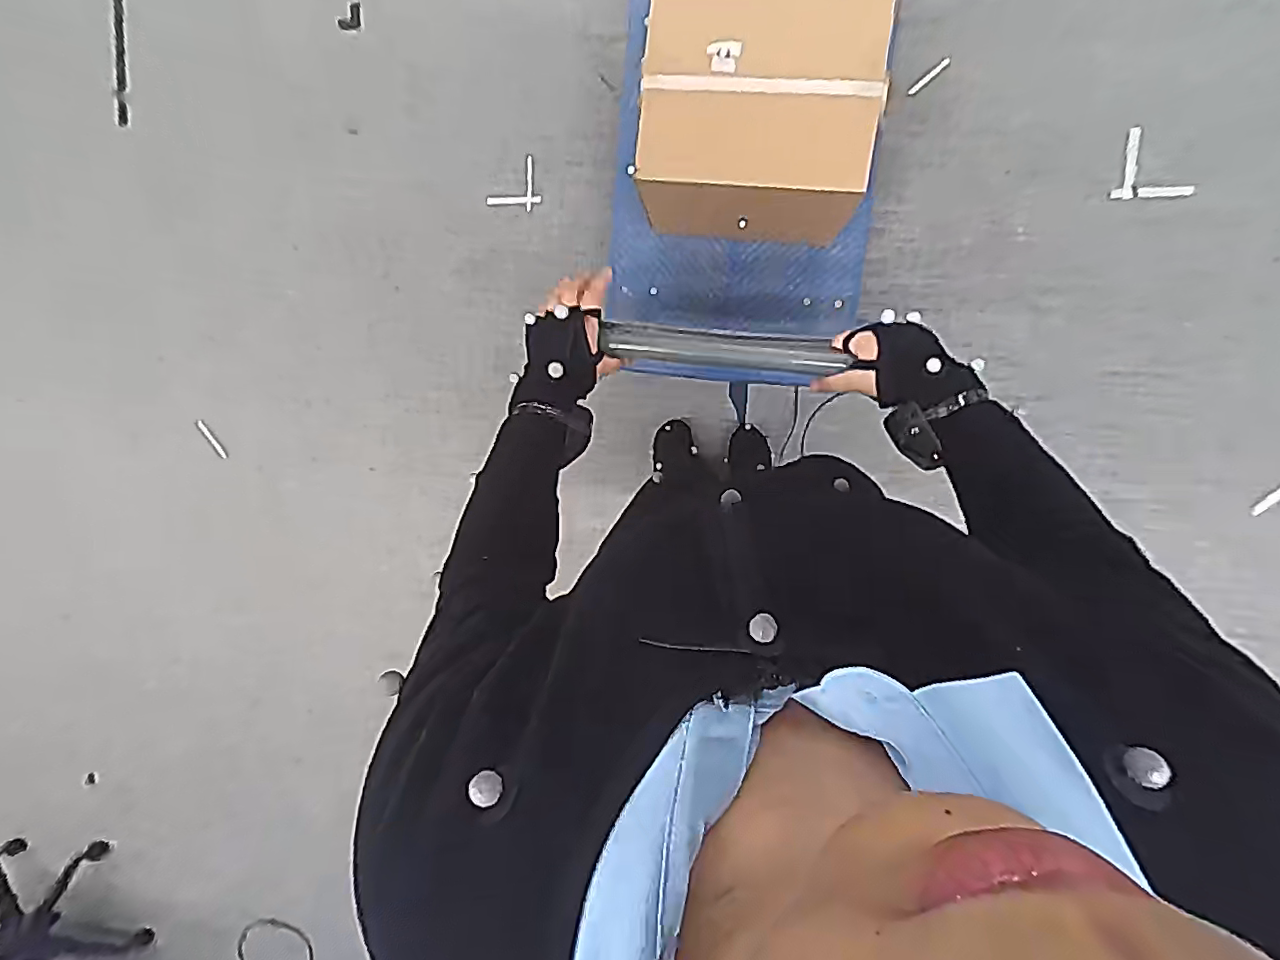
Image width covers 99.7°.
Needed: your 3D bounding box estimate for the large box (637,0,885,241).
[{"bbox_3d":[0.226,-0.691,1.090,0.408,0.320,0.320,7,97,8],"label":"large box"}]
